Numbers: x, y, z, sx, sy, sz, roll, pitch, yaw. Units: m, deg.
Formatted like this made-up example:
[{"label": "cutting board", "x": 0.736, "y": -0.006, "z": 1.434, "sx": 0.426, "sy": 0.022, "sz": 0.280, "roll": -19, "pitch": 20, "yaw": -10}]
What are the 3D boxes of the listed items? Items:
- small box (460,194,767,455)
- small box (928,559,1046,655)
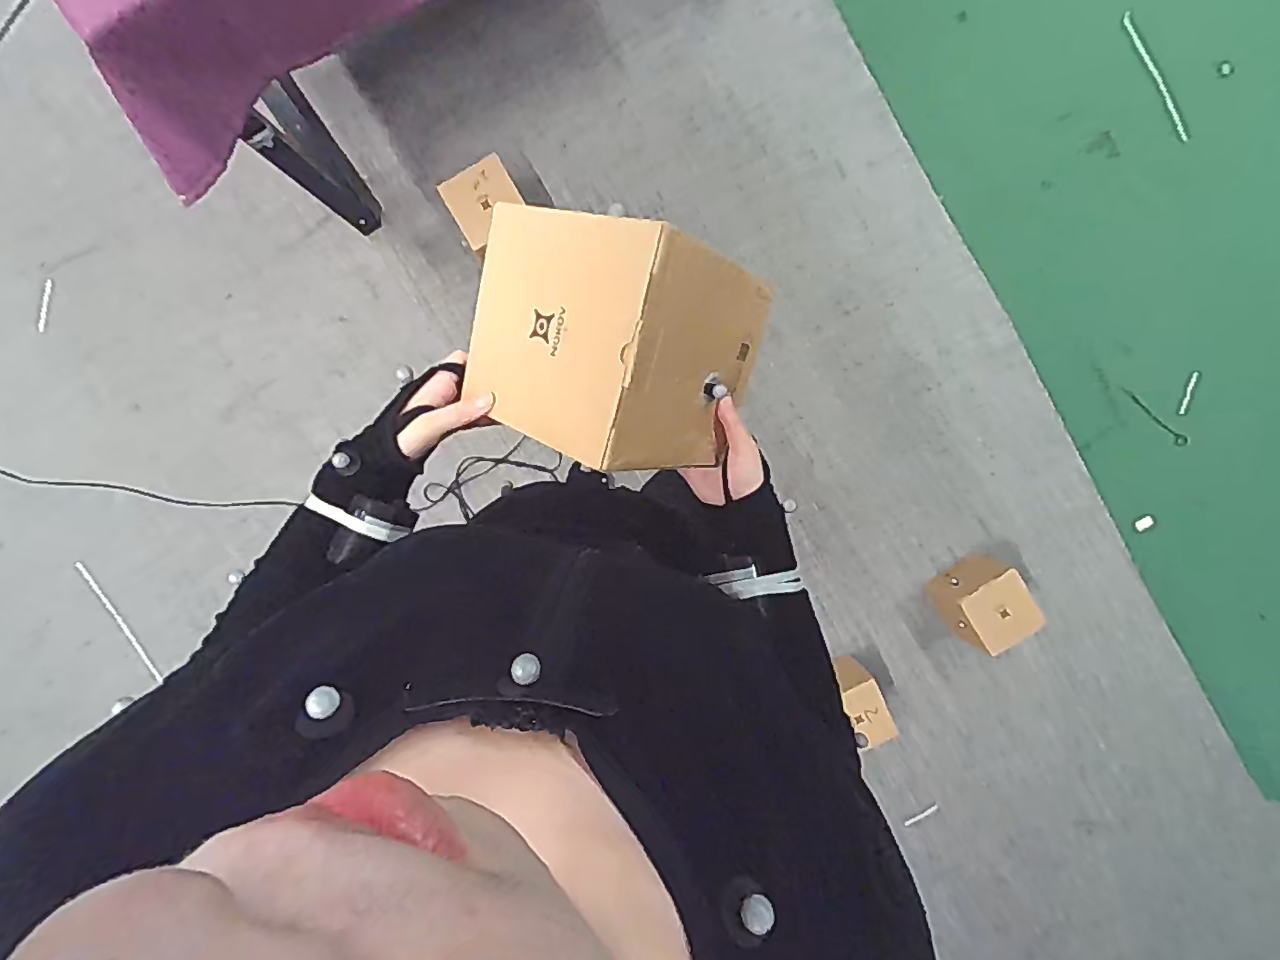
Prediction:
[{"label": "small box", "x": -0.022, "y": -0.124, "z": 0.466, "sx": 0.179, "sy": 0.176, "sz": 0.168, "roll": 26, "pitch": 108, "yaw": 33}, {"label": "small box", "x": 0.908, "y": 0.324, "z": 1.435, "sx": 0.168, "sy": 0.176, "sz": 0.179, "roll": -32, "pitch": 94, "yaw": 2}]
